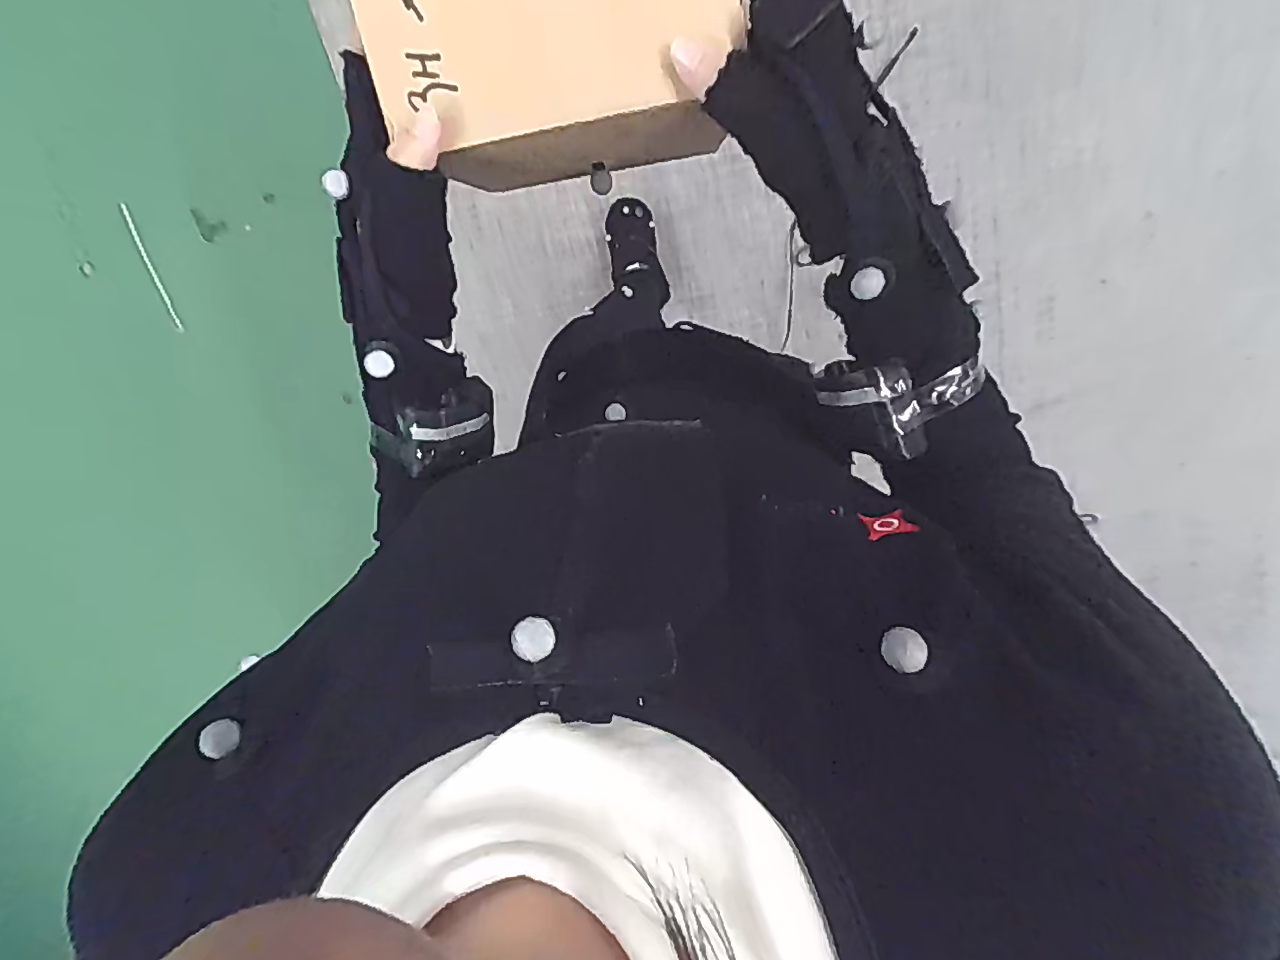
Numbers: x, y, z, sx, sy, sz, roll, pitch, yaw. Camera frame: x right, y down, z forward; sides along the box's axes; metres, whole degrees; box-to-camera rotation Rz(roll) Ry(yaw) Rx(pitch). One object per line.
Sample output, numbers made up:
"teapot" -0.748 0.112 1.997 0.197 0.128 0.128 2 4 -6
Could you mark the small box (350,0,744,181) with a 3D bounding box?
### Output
"small box" -0.047 -0.280 0.301 0.179 0.176 0.168 -7 111 5
